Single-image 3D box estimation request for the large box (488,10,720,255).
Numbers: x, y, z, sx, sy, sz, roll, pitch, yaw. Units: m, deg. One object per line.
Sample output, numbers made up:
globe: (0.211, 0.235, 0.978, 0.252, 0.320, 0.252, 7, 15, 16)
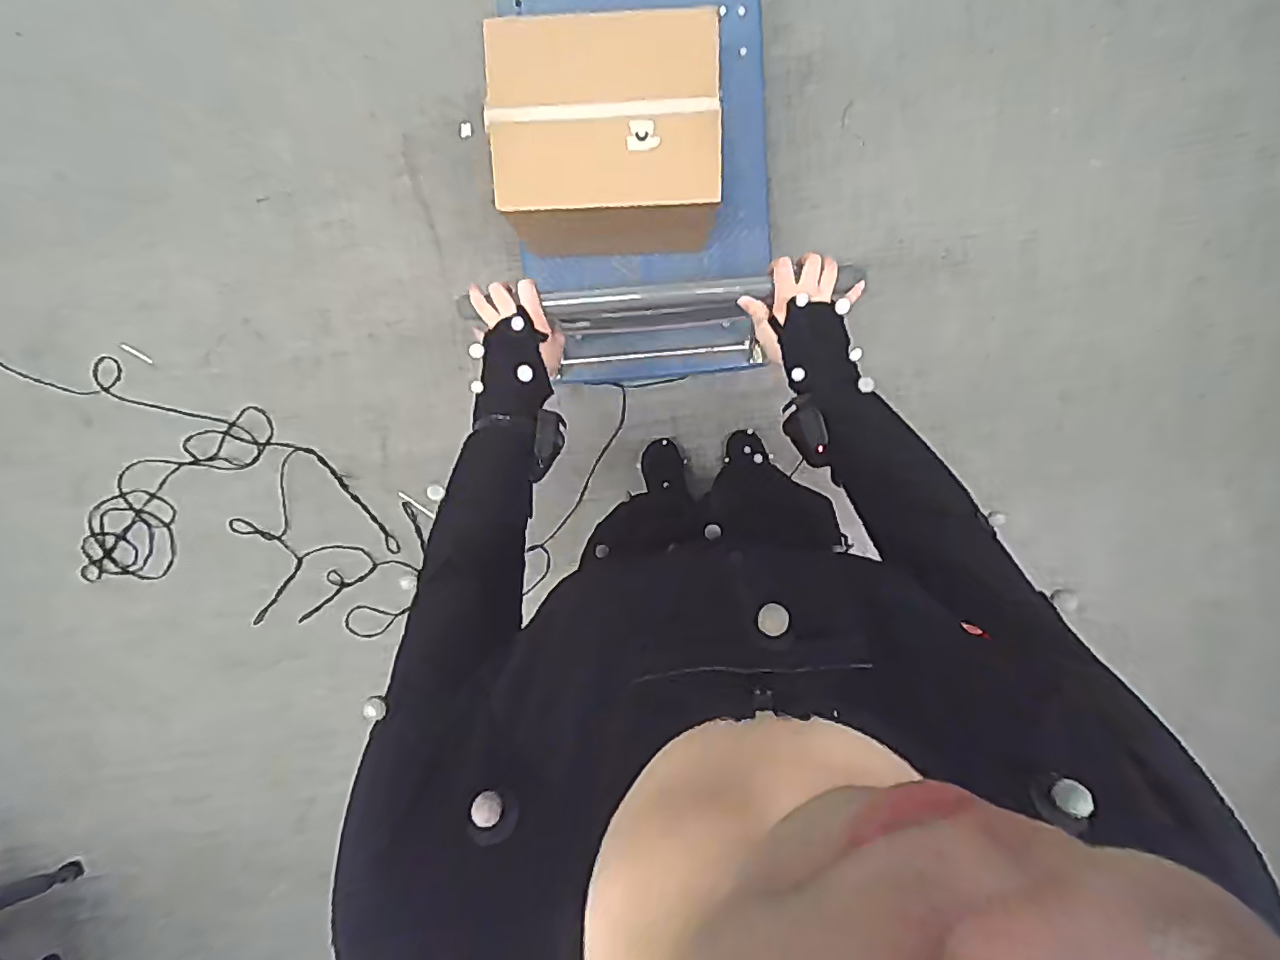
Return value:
large box: (-0.062, -0.671, 1.104, 0.408, 0.320, 0.320, -2, 98, 1)
